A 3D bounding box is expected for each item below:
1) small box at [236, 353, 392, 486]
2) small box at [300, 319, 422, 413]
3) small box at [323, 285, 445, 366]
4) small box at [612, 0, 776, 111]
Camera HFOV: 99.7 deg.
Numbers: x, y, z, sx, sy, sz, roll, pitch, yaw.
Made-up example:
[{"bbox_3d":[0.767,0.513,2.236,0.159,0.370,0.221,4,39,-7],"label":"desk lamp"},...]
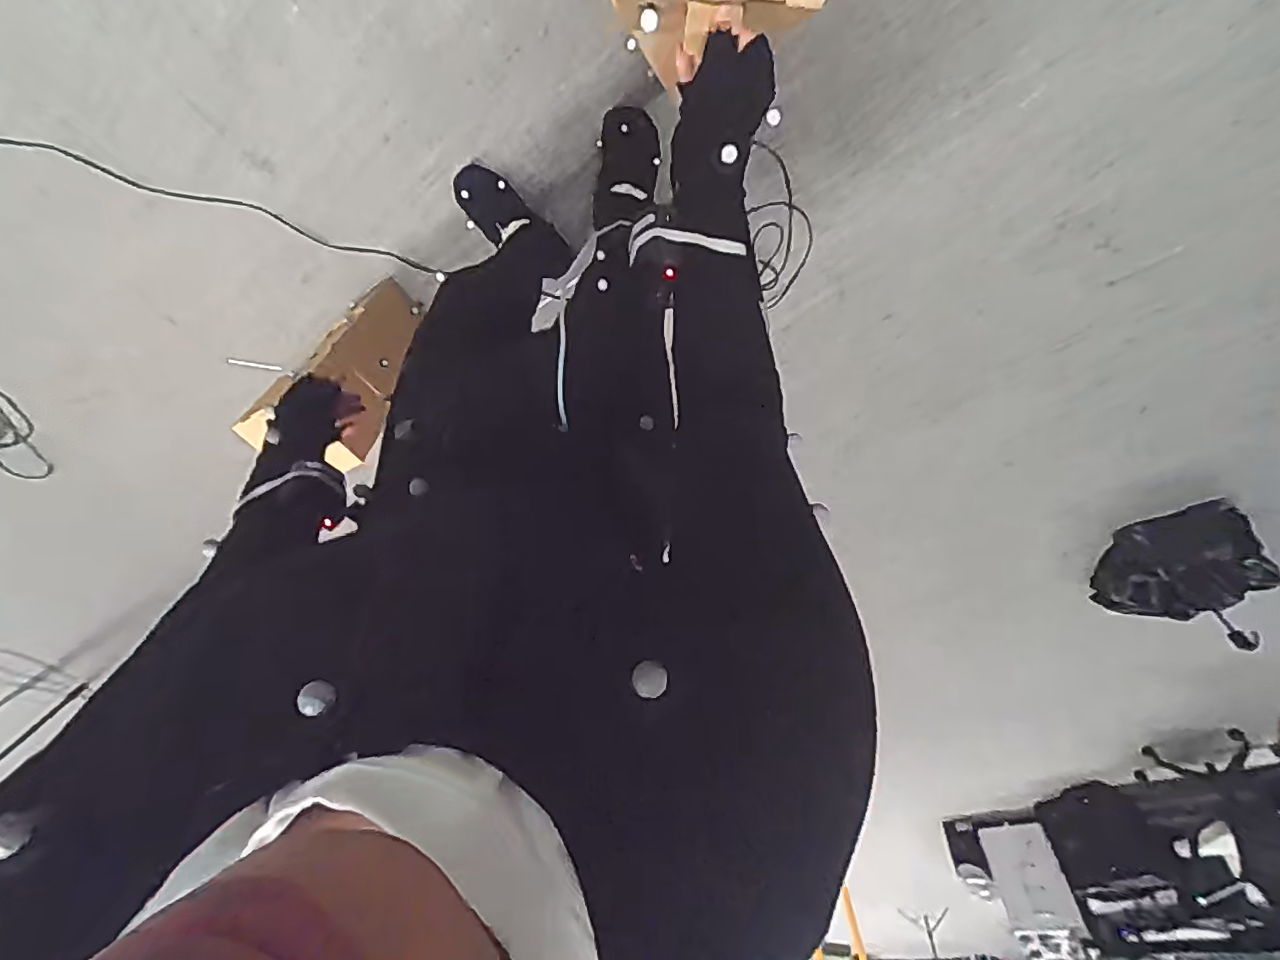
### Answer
[{"bbox_3d":[-0.641,-0.123,1.090,0.168,0.176,0.179,-19,128,20],"label":"small box"},{"bbox_3d":[-0.626,-0.235,1.207,0.168,0.176,0.179,-23,128,23],"label":"small box"},{"bbox_3d":[-0.618,-0.352,1.326,0.168,0.176,0.179,-24,125,27],"label":"small box"},{"bbox_3d":[0.071,-0.674,0.771,0.168,0.176,0.179,-28,125,25],"label":"small box"}]
